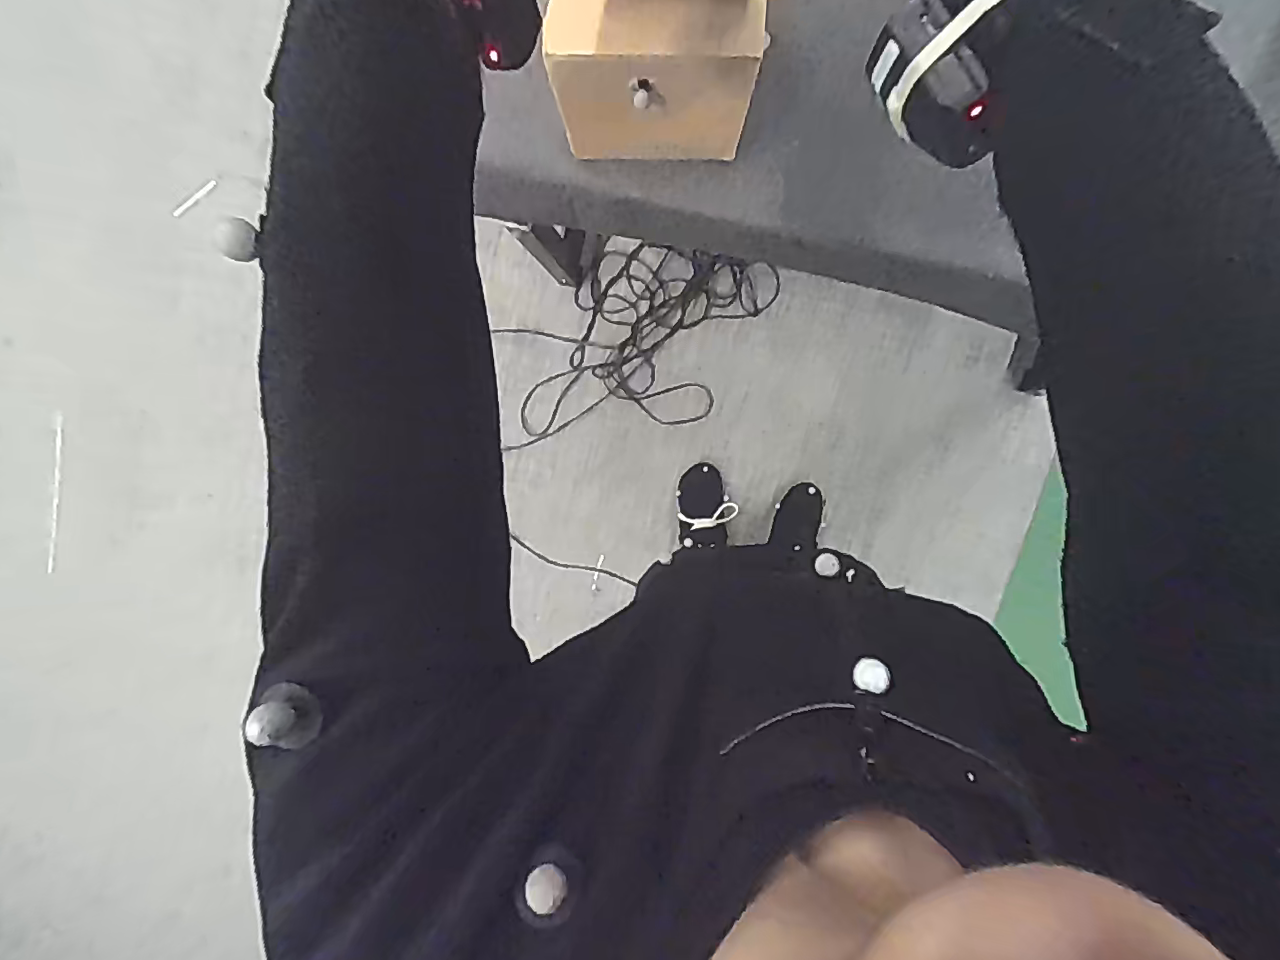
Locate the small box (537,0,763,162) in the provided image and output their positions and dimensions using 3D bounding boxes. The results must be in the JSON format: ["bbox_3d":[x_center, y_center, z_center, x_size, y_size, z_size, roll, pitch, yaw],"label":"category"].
[{"bbox_3d":[0.013,-0.415,0.495,0.179,0.176,0.168,3,96,3],"label":"small box"}]
